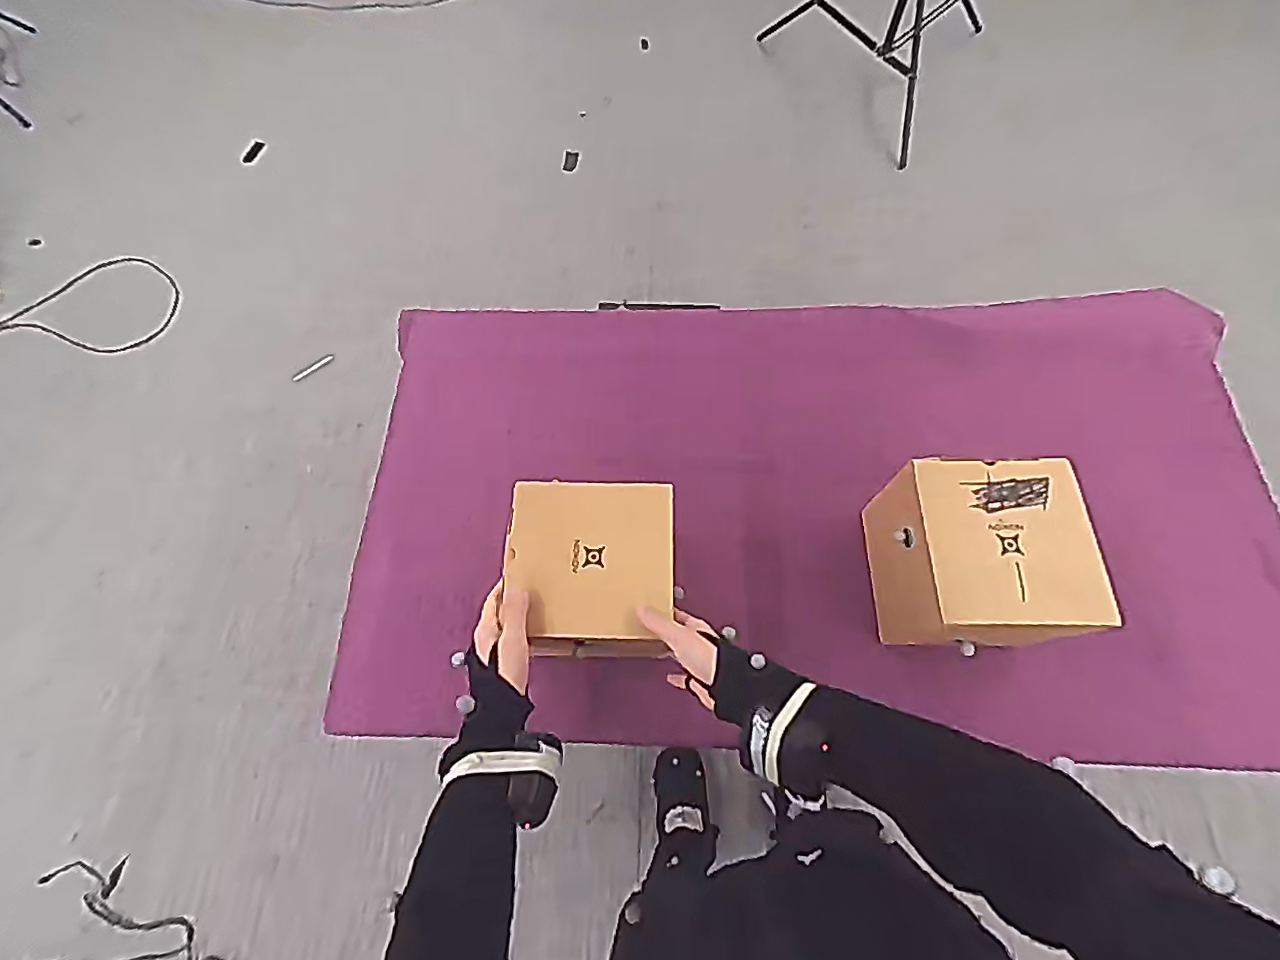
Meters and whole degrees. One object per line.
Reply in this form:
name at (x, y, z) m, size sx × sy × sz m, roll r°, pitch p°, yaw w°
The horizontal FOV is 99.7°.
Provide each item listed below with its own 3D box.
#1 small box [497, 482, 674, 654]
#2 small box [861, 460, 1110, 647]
small box at (-0.052, 0.110, 0.634) m, size 0.179 × 0.176 × 0.168 m, roll 0°, pitch 67°, yaw 2°
small box at (0.369, 0.090, 0.621) m, size 0.168 × 0.176 × 0.179 m, roll 0°, pitch 67°, yaw 3°
